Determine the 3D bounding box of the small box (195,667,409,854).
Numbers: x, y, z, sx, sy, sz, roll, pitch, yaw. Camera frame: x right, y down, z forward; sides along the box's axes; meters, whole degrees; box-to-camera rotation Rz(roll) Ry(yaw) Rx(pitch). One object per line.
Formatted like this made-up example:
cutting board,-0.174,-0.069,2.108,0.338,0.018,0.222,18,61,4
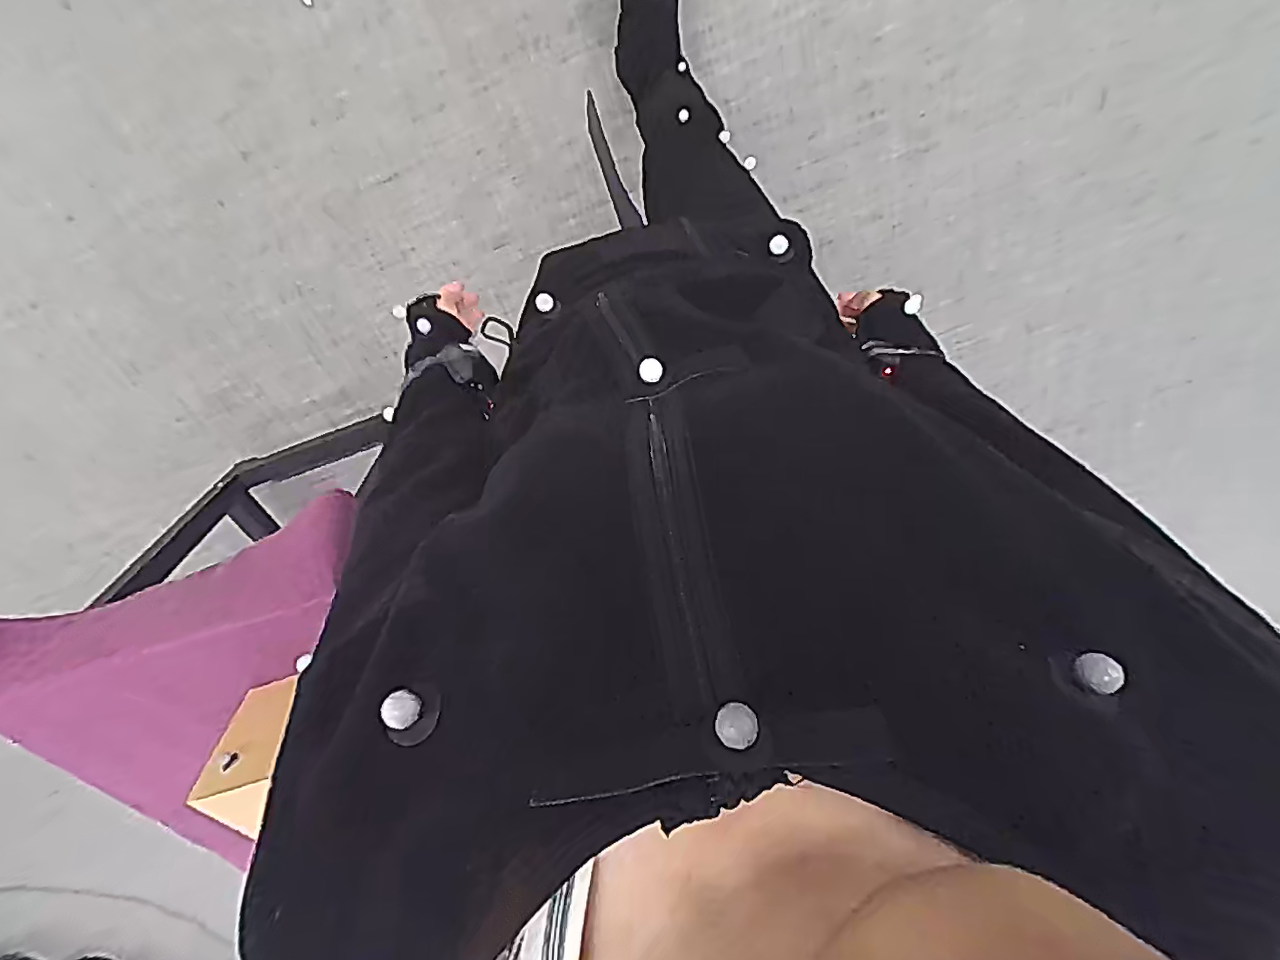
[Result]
small box,-0.476,0.408,0.796,0.179,0.176,0.168,-20,125,7
